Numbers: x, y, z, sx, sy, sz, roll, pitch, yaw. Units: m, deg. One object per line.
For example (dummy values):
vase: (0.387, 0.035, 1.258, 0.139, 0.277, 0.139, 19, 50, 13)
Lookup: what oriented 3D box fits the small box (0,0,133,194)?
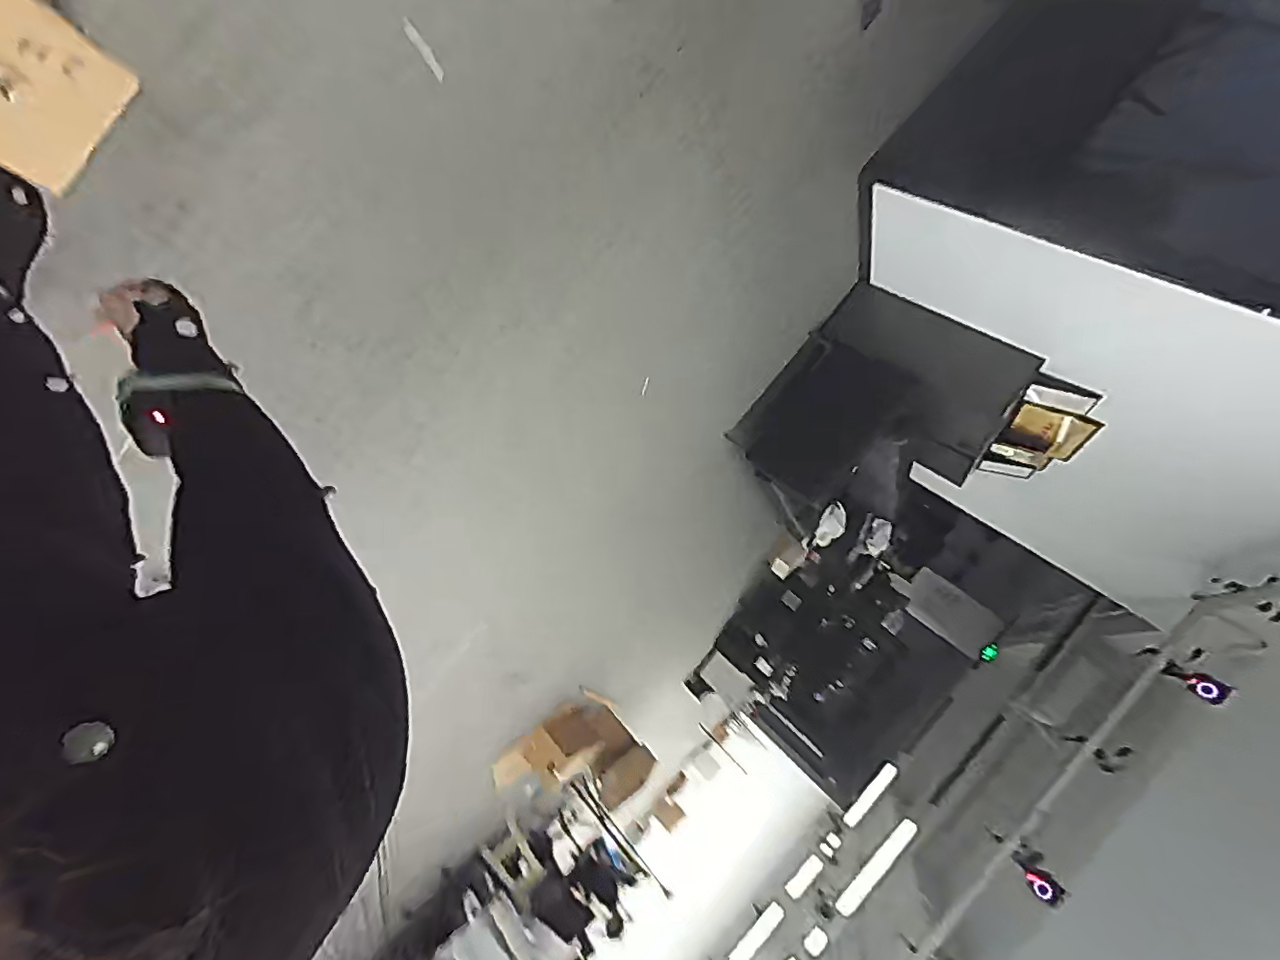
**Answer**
small box: (-0.749, -0.480, 0.621, 0.179, 0.176, 0.168, -52, 153, 1)
